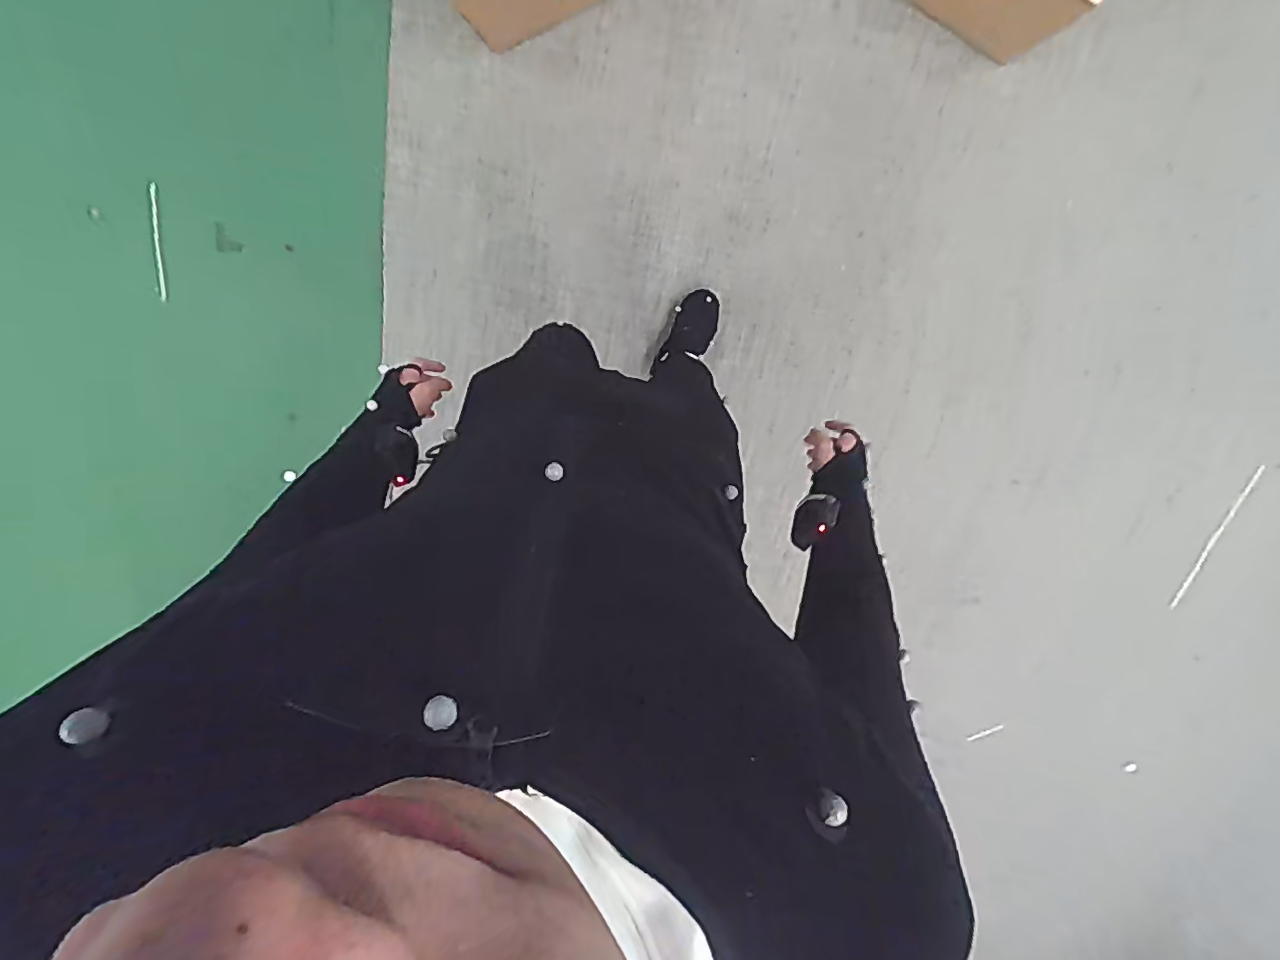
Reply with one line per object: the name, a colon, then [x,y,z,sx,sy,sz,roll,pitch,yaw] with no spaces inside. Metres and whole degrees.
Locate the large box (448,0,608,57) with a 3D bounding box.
large box: [-0.225,-1.166,1.091,0.408,0.320,0.320,-18,107,12]
